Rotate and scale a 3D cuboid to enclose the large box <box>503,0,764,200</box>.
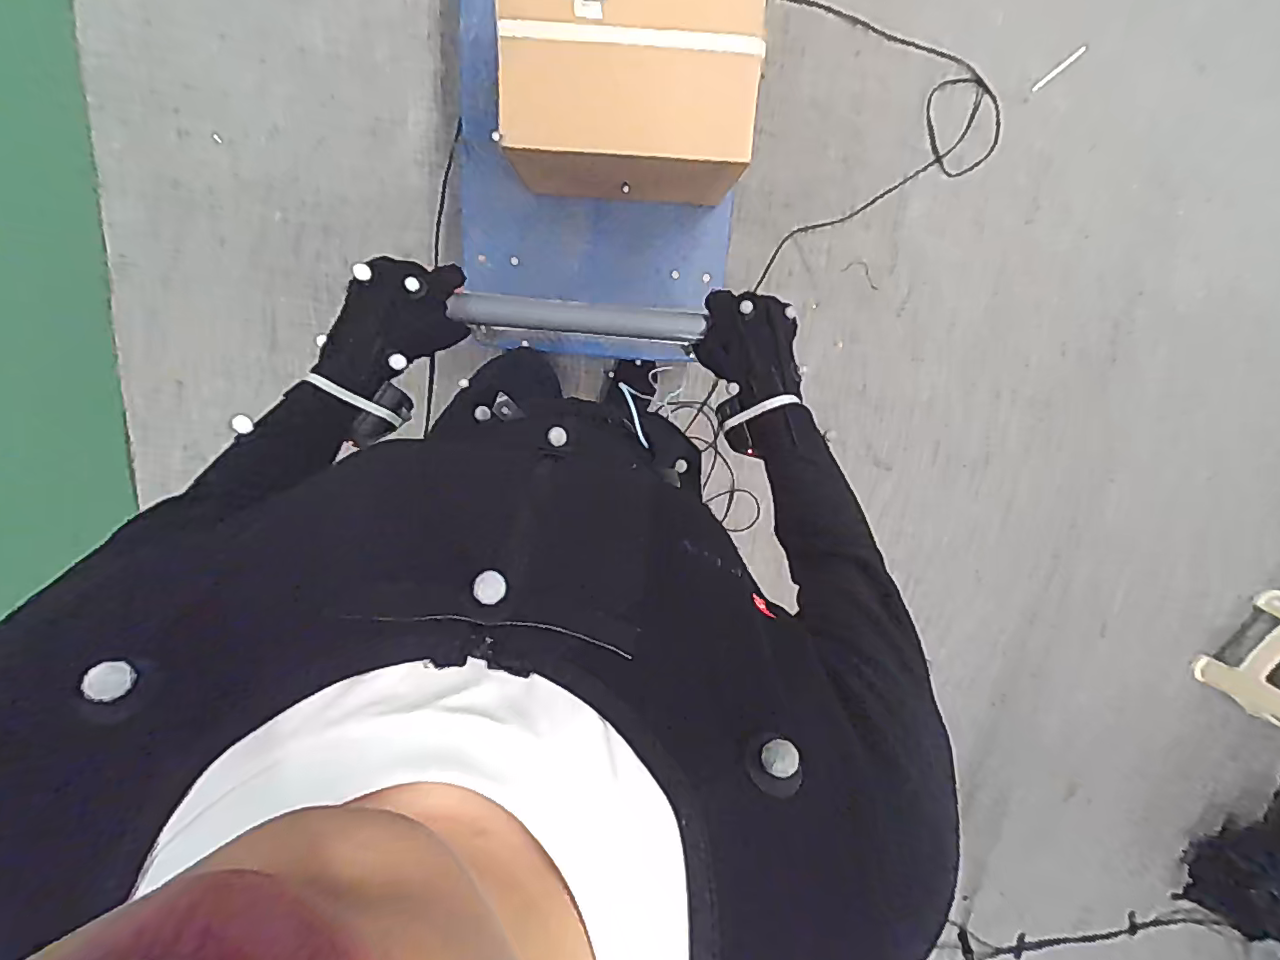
[{"bbox_3d":[-0.012,-0.711,0.977,0.408,0.320,0.320,3,105,-1],"label":"large box"}]
